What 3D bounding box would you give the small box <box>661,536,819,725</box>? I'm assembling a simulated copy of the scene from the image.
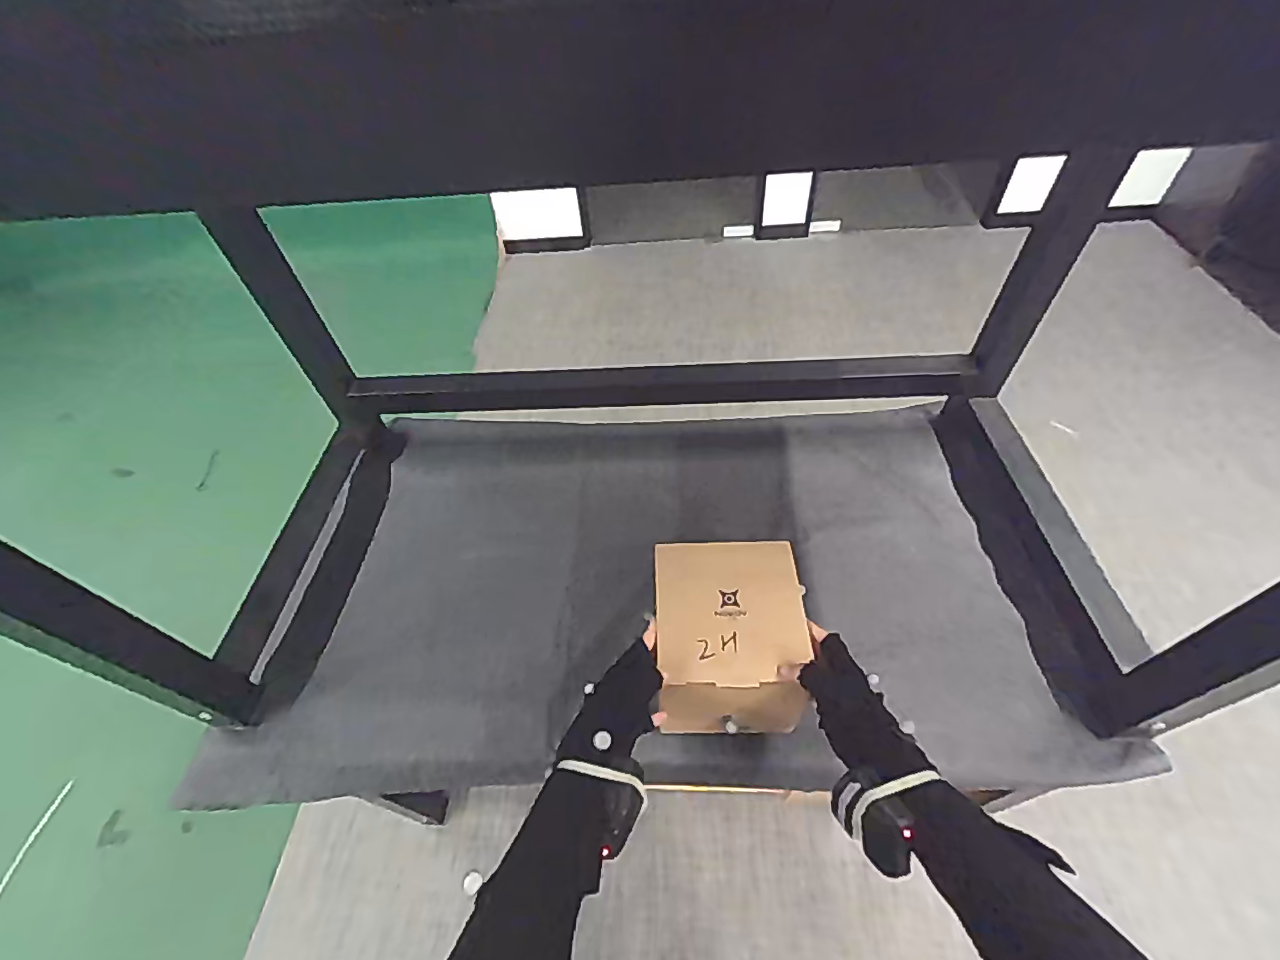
[{"bbox_3d":[0.110,0.189,0.676,0.168,0.176,0.179,-2,50,3],"label":"small box"}]
